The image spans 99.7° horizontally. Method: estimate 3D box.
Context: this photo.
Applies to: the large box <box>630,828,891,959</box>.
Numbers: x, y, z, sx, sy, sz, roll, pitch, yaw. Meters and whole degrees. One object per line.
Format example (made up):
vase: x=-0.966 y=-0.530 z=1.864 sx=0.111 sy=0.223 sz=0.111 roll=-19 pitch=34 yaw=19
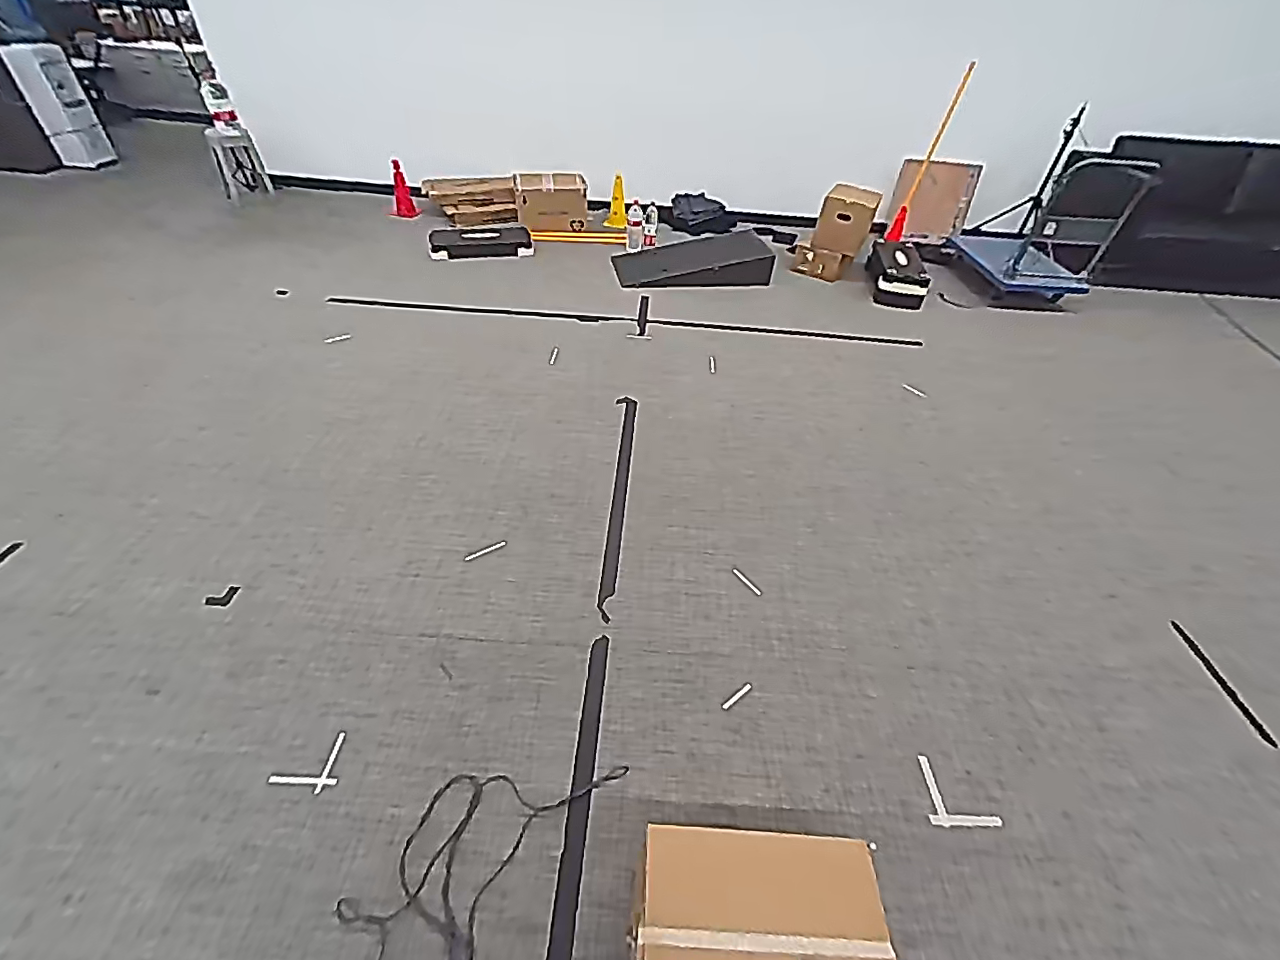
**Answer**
large box: x=0.191 y=0.854 z=0.963 sx=0.408 sy=0.320 sz=0.320 roll=5 pitch=42 yaw=-2
